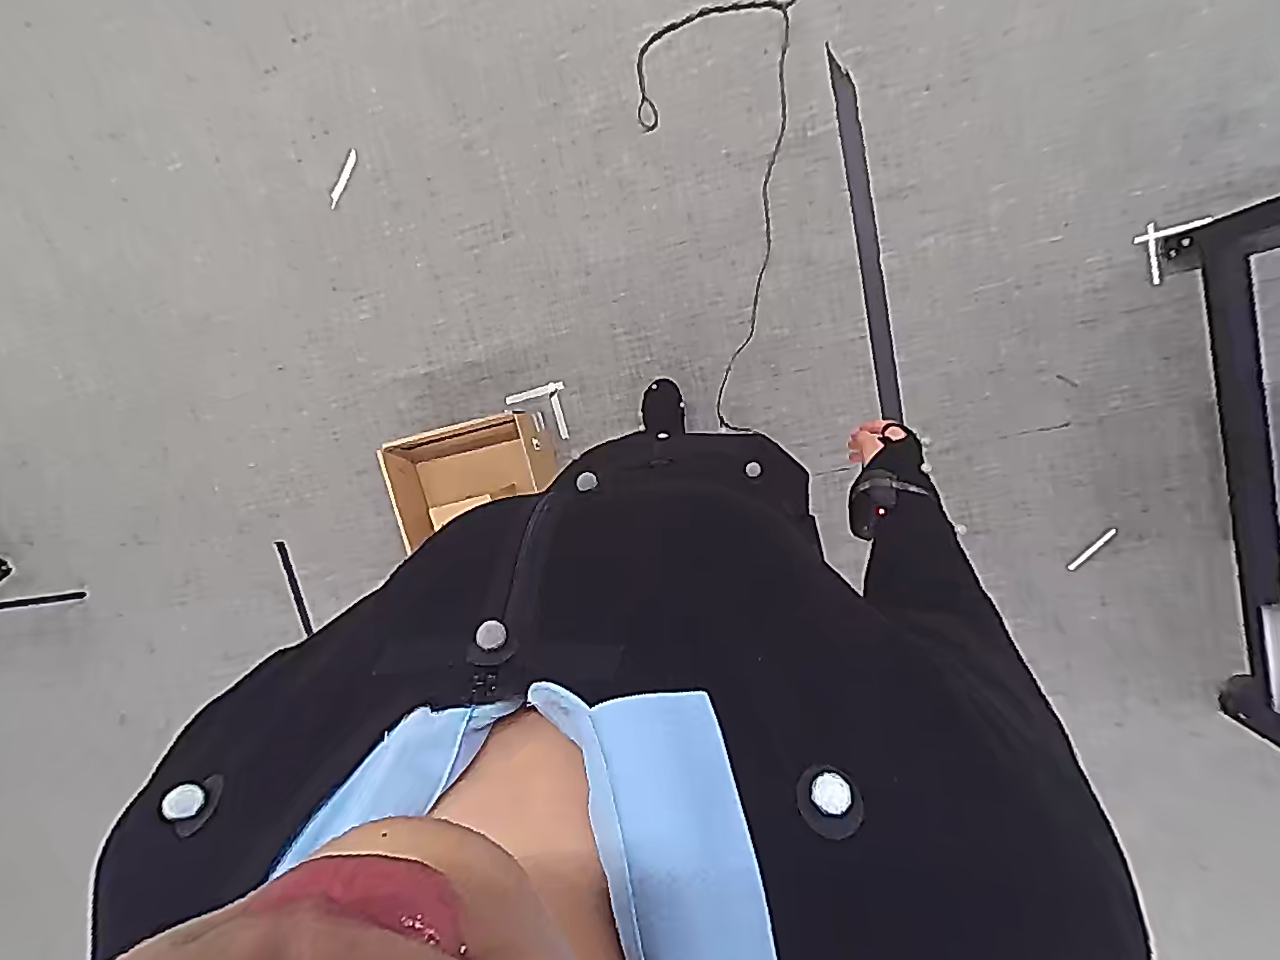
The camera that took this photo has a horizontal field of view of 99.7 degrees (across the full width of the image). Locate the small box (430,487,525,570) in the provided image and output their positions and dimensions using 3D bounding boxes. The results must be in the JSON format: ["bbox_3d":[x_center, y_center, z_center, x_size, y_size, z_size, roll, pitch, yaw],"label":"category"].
[{"bbox_3d":[-0.423,0.124,1.447,0.179,0.176,0.168,-14,96,10],"label":"small box"}]
